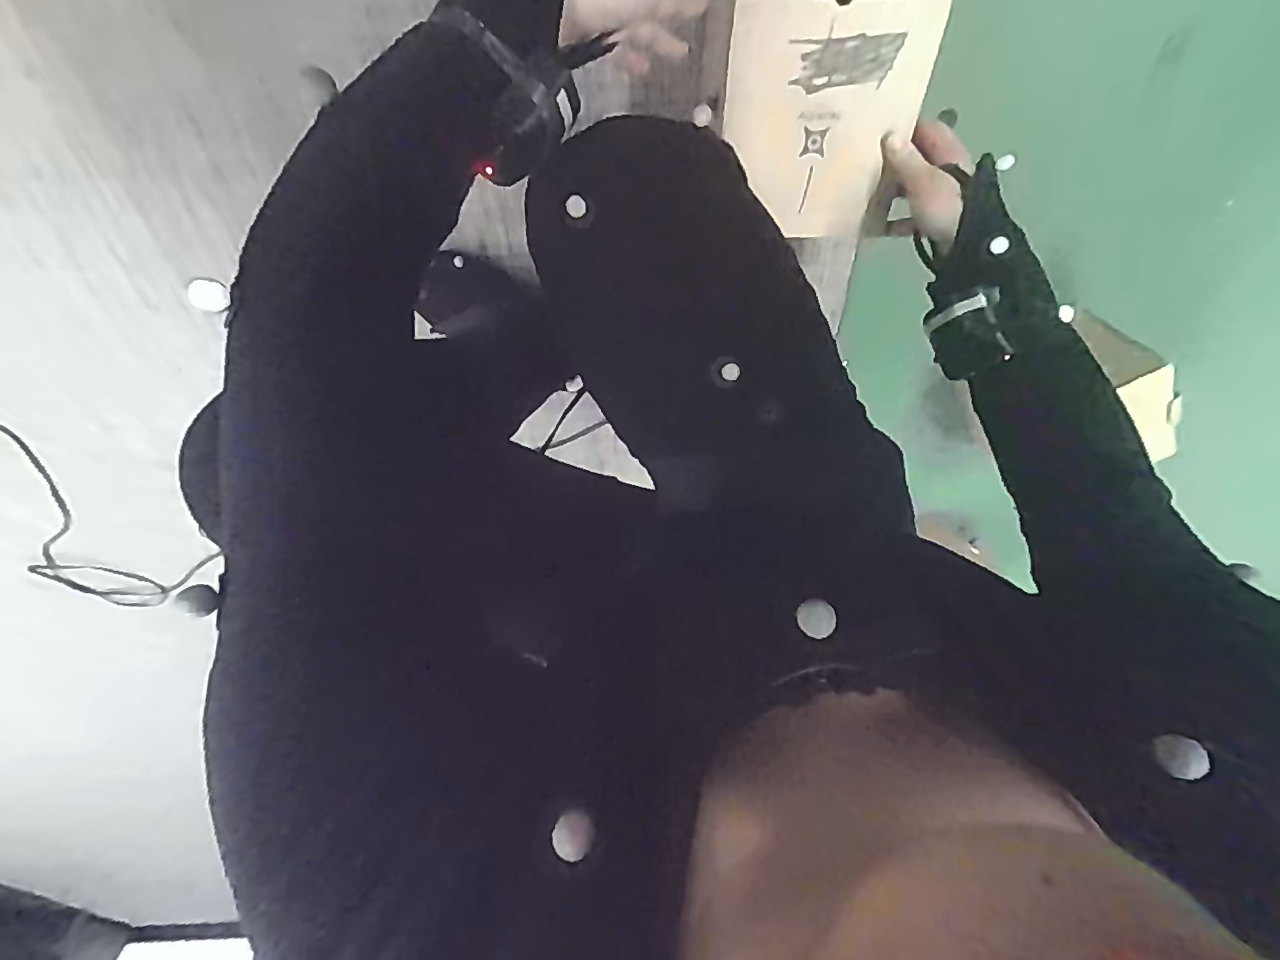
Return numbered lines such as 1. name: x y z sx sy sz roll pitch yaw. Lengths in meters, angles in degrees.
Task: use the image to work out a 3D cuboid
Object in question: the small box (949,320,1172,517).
1. small box: 0.567 -0.087 0.743 0.179 0.176 0.168 -29 126 20
